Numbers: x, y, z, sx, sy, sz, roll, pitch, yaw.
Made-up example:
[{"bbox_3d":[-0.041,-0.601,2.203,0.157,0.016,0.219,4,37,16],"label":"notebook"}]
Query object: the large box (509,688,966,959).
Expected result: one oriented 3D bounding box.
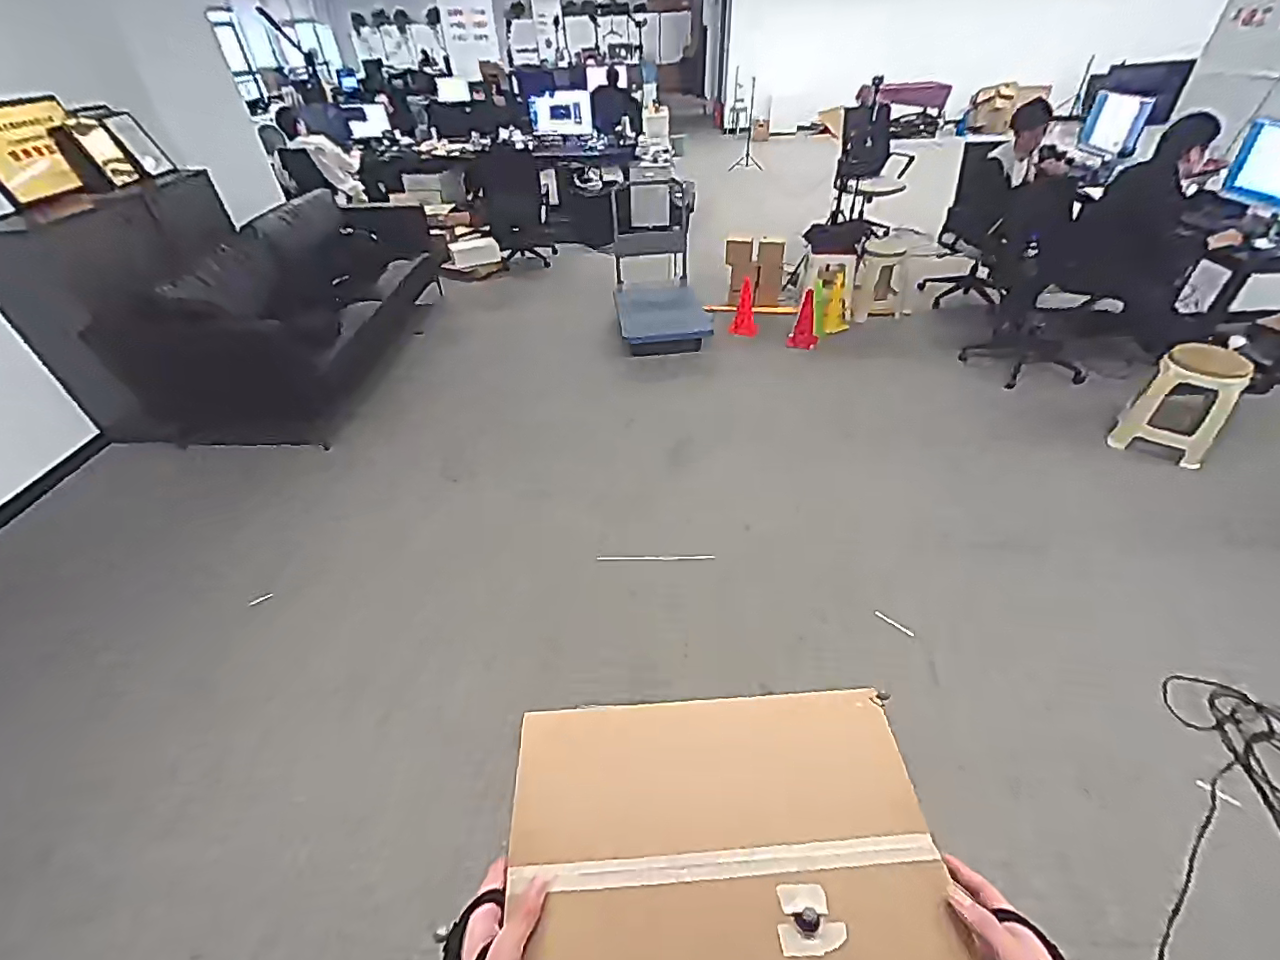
[{"bbox_3d":[0.081,0.472,0.625,0.408,0.320,0.320,-4,45,-1],"label":"large box"}]
